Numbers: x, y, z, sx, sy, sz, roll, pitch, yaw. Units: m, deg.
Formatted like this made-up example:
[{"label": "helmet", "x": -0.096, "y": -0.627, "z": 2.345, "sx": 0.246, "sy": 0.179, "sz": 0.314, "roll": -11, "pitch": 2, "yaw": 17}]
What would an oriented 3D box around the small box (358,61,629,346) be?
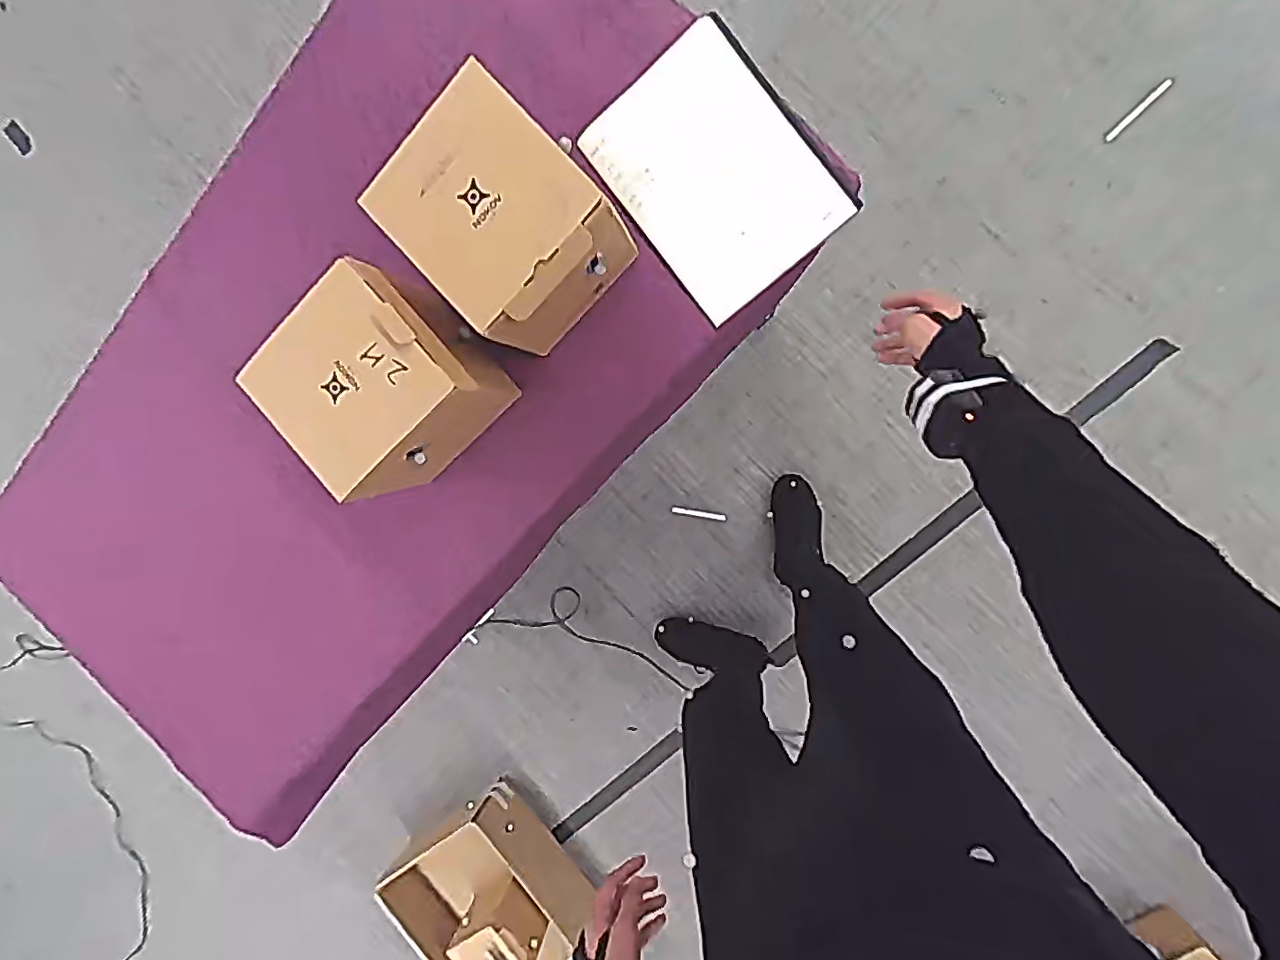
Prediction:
[{"label": "small box", "x": -0.132, "y": -0.257, "z": 0.557, "sx": 0.168, "sy": 0.176, "sz": 0.179, "roll": -43, "pitch": 88, "yaw": 11}]
